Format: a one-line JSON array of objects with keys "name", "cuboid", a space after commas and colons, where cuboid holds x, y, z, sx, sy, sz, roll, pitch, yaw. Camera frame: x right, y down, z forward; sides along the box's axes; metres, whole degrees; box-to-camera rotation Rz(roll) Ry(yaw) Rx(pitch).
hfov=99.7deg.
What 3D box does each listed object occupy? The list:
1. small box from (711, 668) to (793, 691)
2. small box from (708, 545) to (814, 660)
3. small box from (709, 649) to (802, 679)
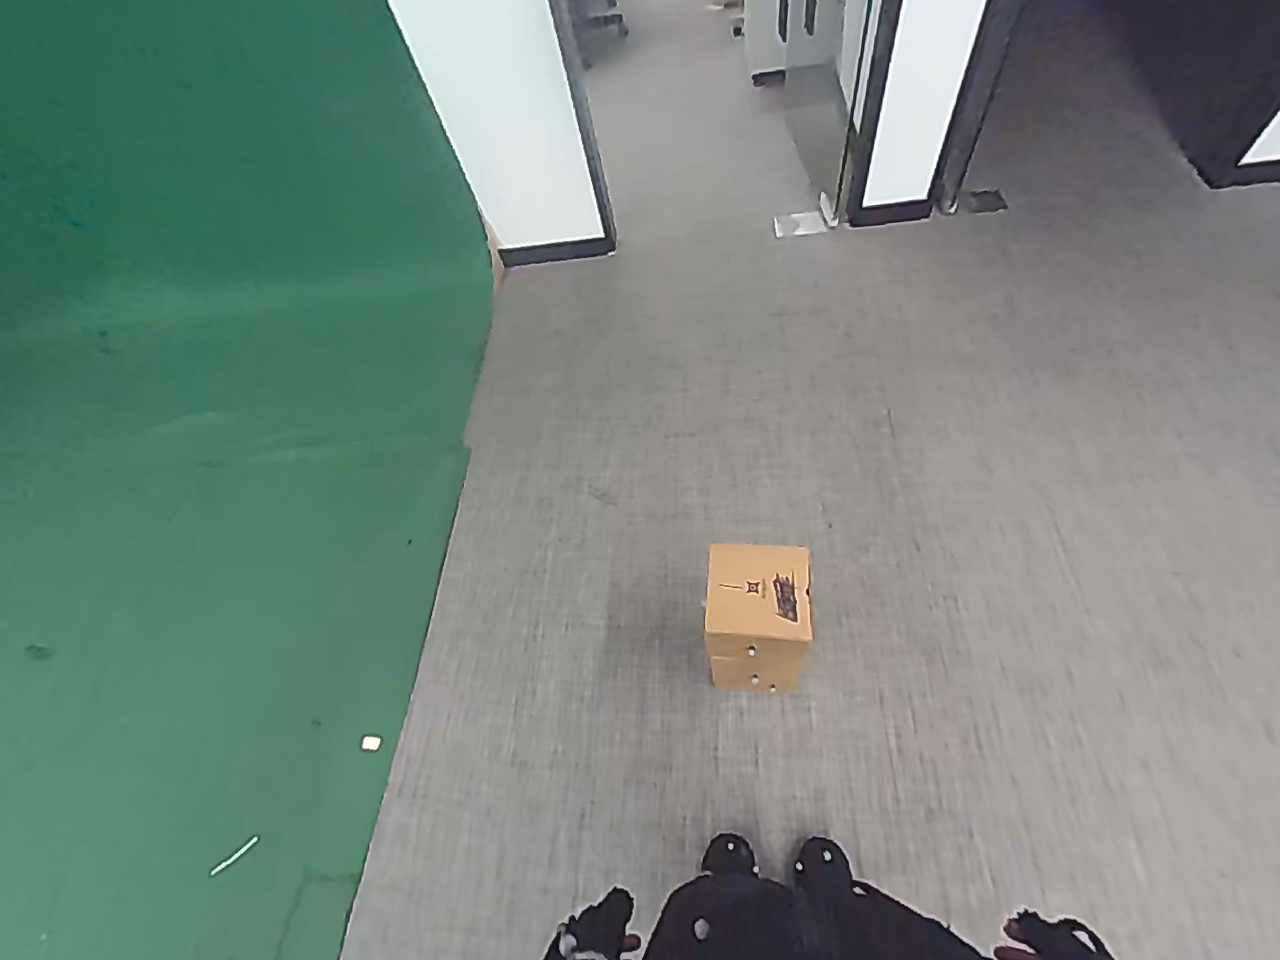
[{"name": "small box", "cuboid": [0.262, 0.397, 1.281, 0.179, 0.176, 0.168, -2, 58, 11]}, {"name": "small box", "cuboid": [0.216, 0.230, 1.002, 0.179, 0.176, 0.168, 0, 59, 9]}, {"name": "small box", "cuboid": [0.239, 0.316, 1.141, 0.179, 0.176, 0.168, 1, 59, 11]}]
